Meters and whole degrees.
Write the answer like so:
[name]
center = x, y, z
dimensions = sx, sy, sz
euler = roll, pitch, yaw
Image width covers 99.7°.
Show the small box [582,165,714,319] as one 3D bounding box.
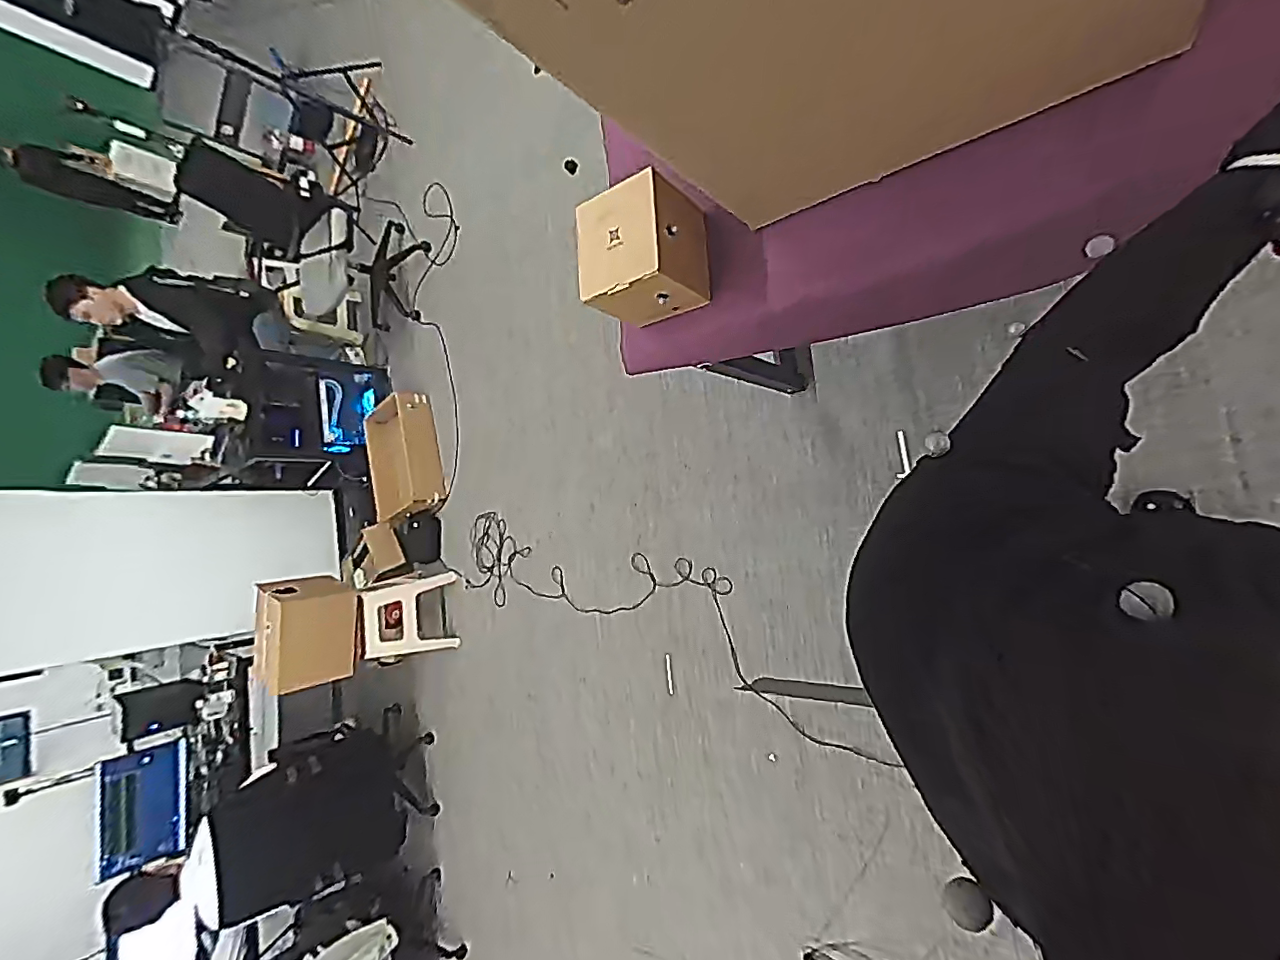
[small box]
center = 0.018, -0.395, 0.943
dimensions = 0.168, 0.176, 0.179
euler = -7, 83, 36
